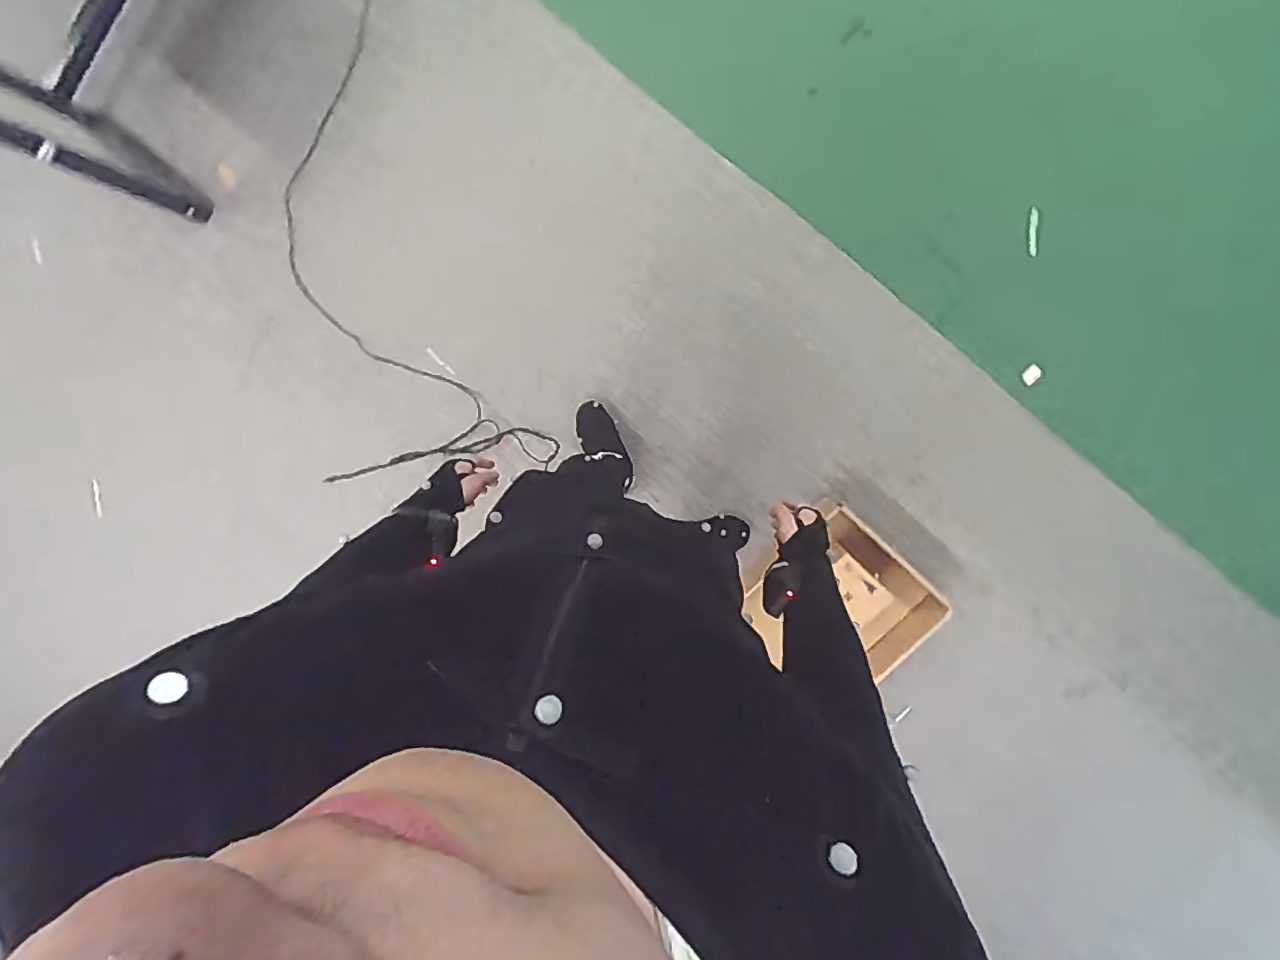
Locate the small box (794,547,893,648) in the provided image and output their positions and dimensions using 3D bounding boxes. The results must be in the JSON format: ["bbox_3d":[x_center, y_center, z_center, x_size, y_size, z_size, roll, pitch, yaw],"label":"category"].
[{"bbox_3d":[0.528,0.305,1.437,0.168,0.176,0.179,45,101,2],"label":"small box"}]
